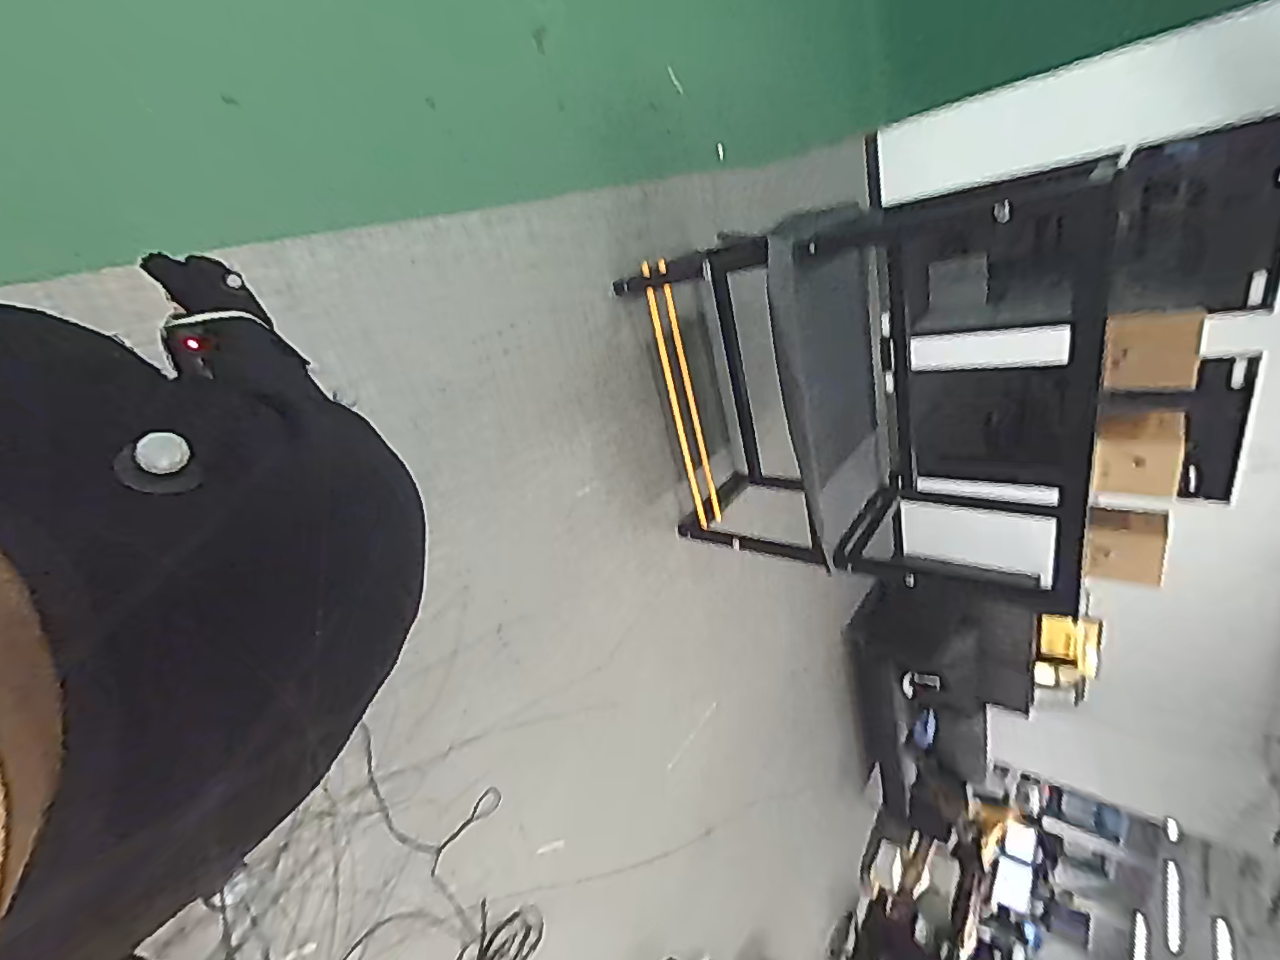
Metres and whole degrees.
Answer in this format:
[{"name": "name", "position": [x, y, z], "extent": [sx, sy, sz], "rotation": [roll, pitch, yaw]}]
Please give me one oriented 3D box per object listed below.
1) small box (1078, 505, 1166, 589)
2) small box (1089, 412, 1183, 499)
[{"name": "small box", "position": [1.391, 0.186, 1.563], "extent": [0.179, 0.176, 0.168], "rotation": [-30, 117, -41]}, {"name": "small box", "position": [1.314, -0.069, 1.439], "extent": [0.179, 0.176, 0.168], "rotation": [-43, 126, -37]}]
